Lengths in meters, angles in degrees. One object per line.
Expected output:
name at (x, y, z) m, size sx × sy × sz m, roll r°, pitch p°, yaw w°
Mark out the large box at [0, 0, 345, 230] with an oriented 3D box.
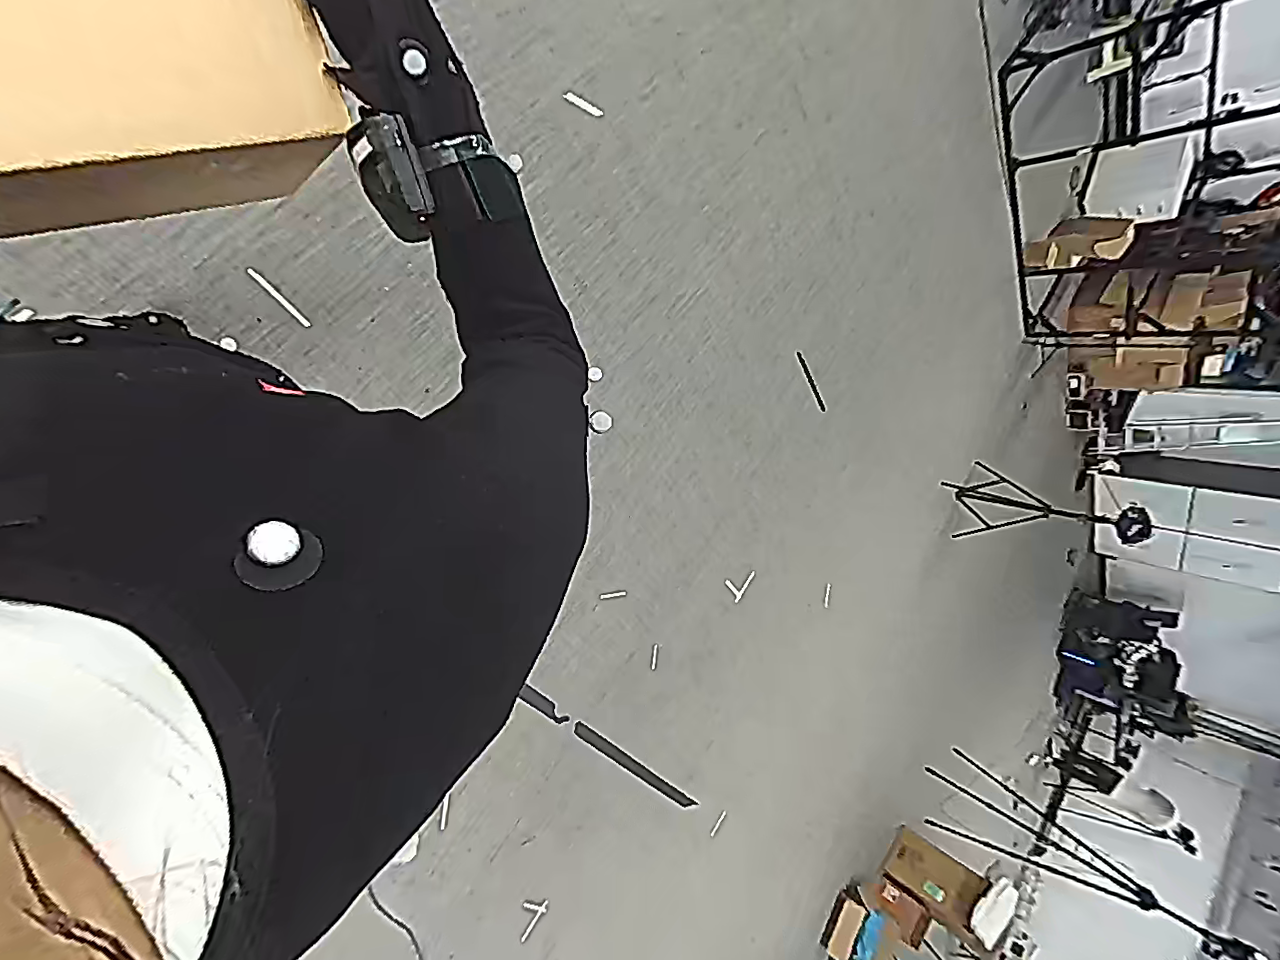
large box at (-0.462, -0.318, 0.295) m, size 0.408 × 0.320 × 0.320 m, roll -29°, pitch 124°, yaw -29°
